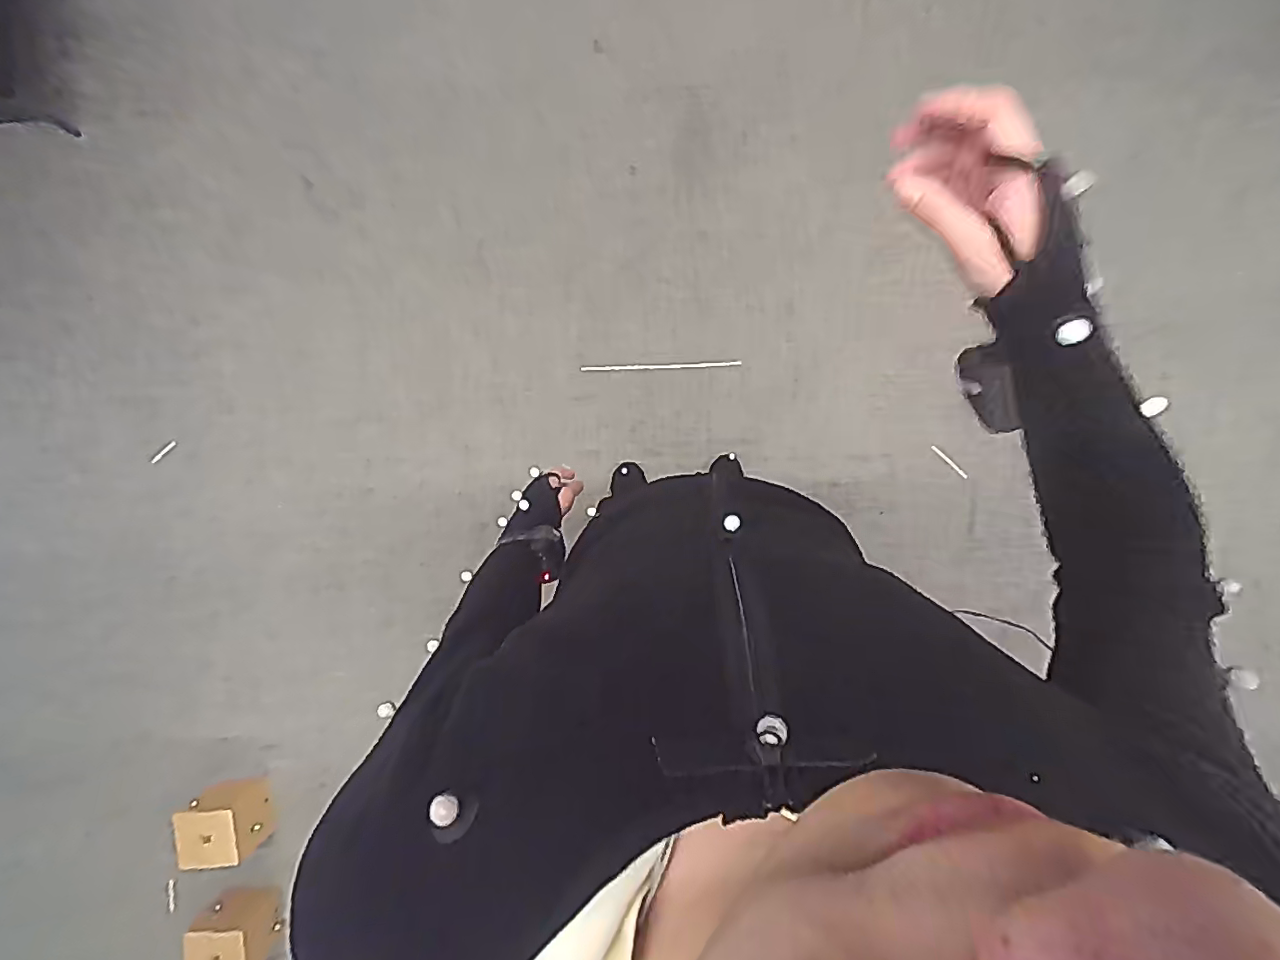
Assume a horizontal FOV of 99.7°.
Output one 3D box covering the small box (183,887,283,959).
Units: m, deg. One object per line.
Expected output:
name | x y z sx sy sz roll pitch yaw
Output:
small box | -1.218 1.364 1.626 0.179 0.176 0.168 -2 92 1

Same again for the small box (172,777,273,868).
small box | -1.234 1.015 1.616 0.179 0.176 0.168 -5 92 2
